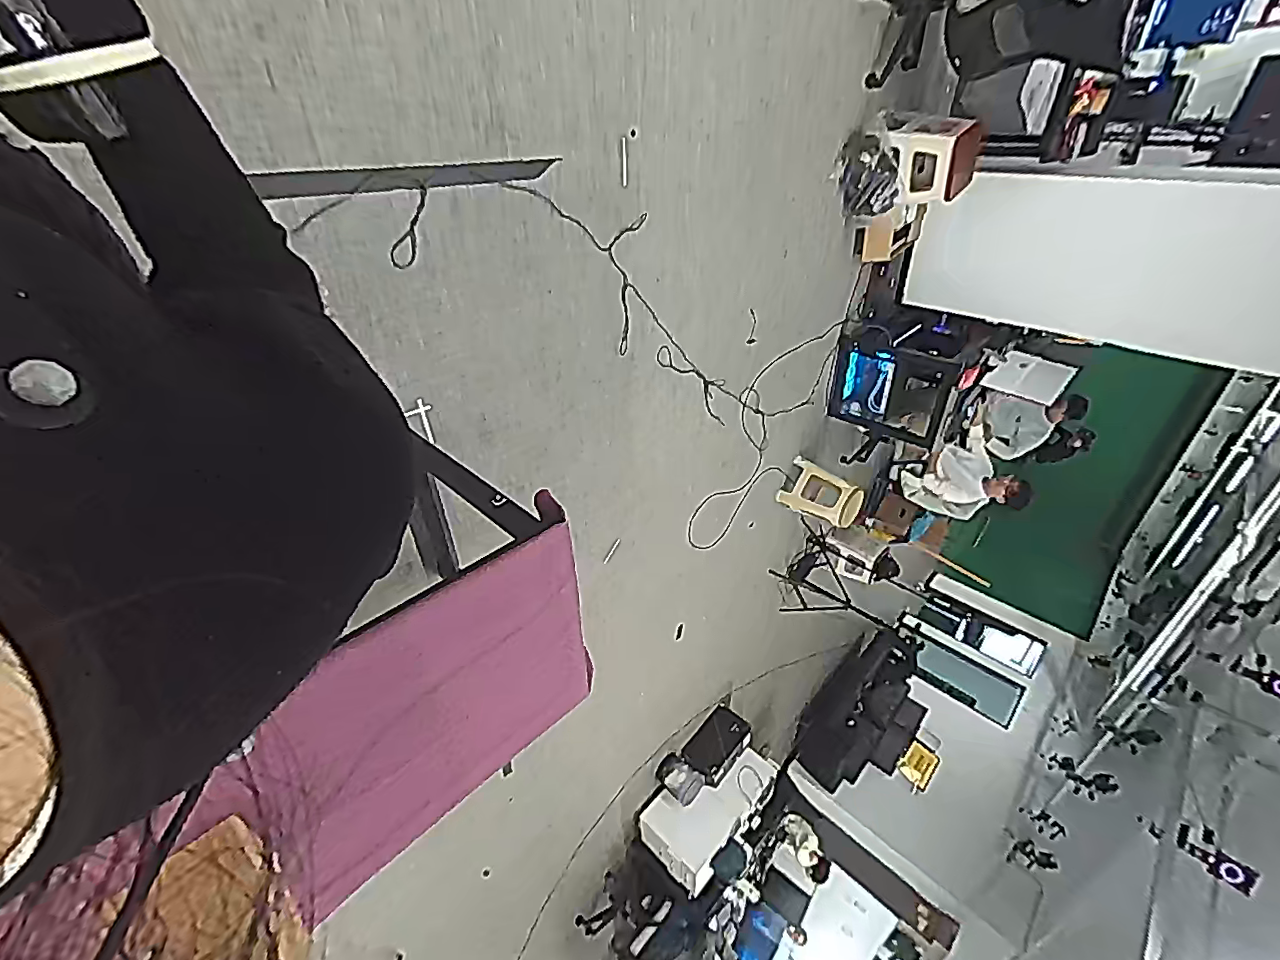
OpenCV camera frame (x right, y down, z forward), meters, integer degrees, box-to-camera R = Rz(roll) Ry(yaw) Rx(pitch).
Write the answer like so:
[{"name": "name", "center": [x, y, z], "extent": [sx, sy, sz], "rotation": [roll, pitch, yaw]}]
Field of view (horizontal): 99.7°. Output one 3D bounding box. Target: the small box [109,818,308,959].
[{"name": "small box", "center": [-0.645, 0.666, 0.810], "extent": [0.179, 0.176, 0.168], "rotation": [-32, 135, -35]}]
